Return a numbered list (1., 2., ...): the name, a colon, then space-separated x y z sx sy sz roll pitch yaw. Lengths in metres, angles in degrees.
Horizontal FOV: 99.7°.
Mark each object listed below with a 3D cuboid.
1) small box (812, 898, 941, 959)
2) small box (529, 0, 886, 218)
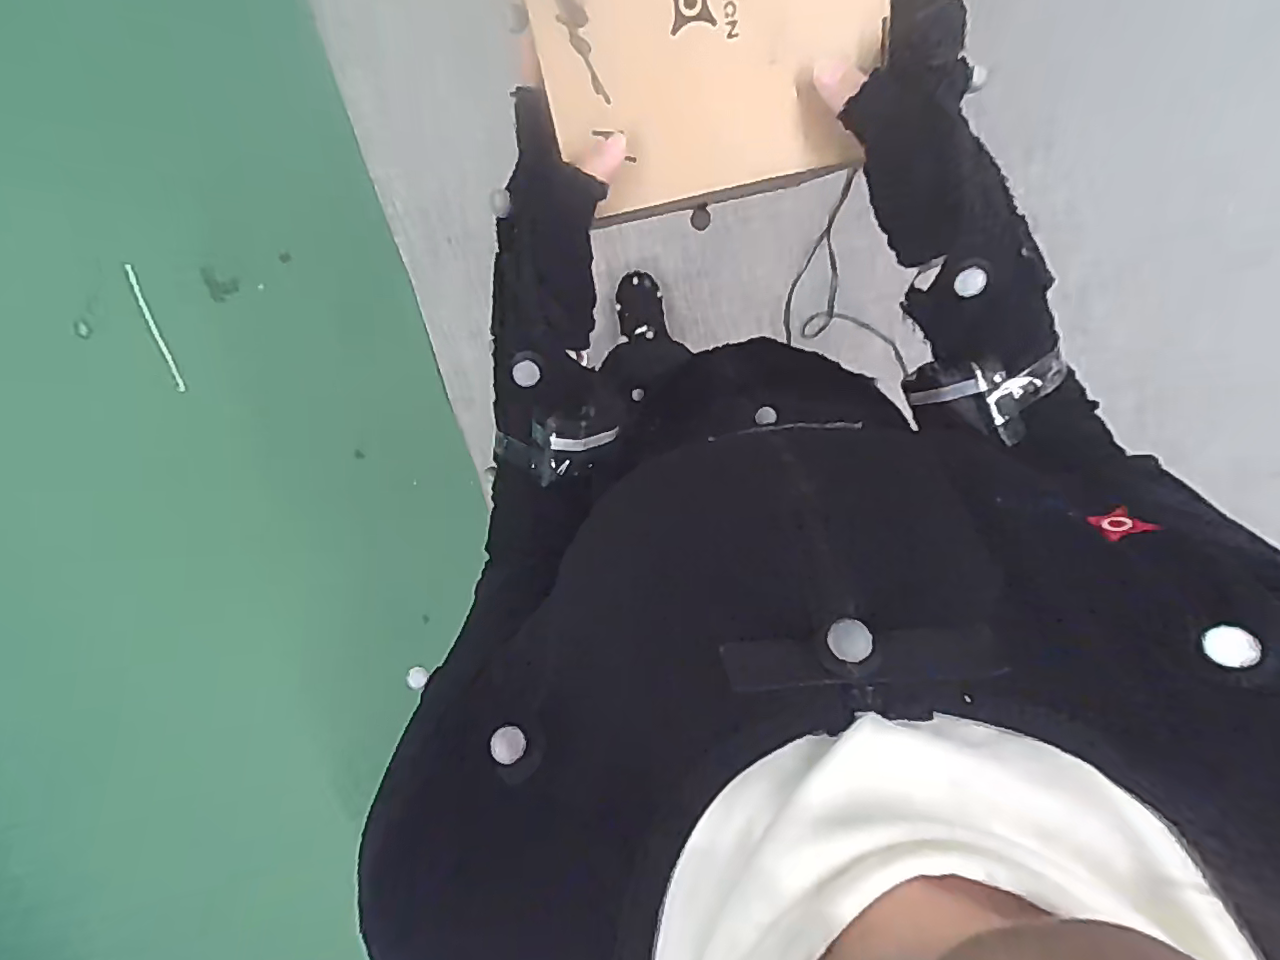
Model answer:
1. small box: 0.372 0.781 0.811 0.179 0.176 0.168 -17 106 4
2. small box: 0.028 -0.271 0.336 0.179 0.176 0.168 -11 112 1
